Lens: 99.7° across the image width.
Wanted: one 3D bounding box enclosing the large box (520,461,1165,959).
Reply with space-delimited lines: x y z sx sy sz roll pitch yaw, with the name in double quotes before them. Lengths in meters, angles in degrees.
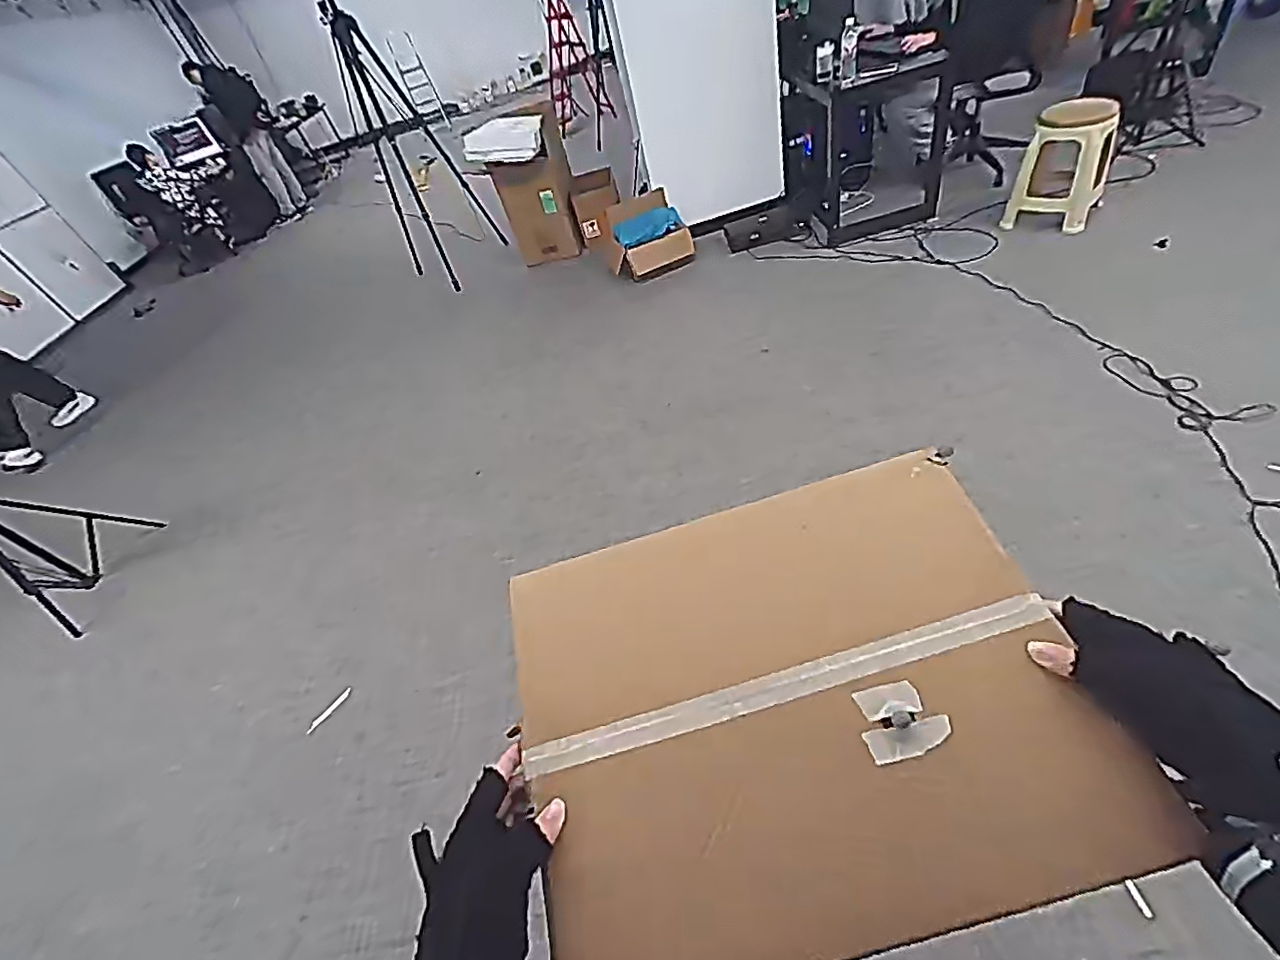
"large box" 0.136 0.242 0.549 0.408 0.320 0.320 -18 56 1
